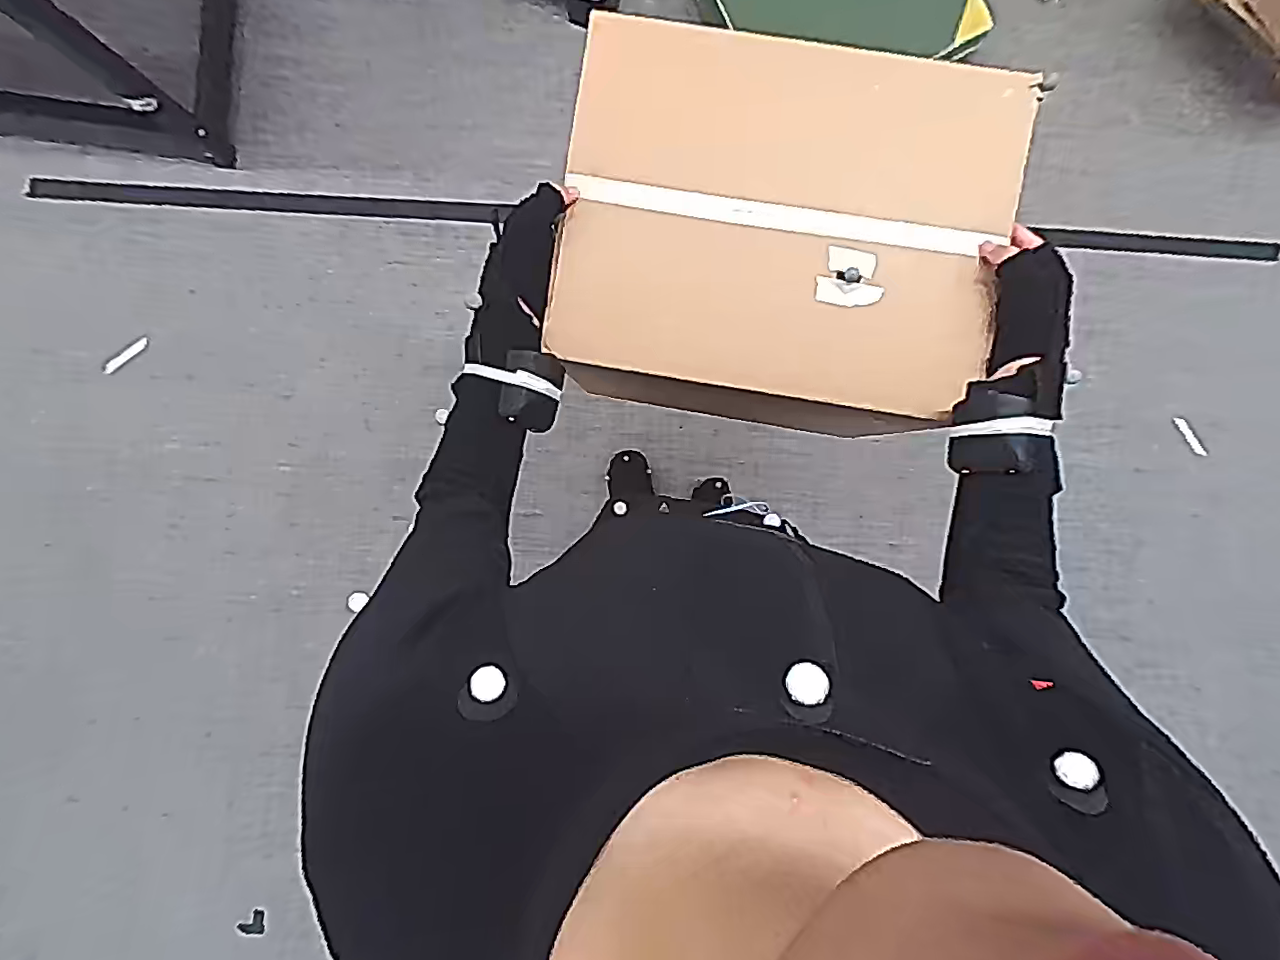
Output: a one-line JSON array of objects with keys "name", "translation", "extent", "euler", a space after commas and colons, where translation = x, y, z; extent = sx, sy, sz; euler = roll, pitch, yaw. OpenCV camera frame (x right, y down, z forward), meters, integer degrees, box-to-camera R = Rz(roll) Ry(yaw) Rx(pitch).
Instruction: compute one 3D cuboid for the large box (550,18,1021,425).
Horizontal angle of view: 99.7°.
[{"name": "large box", "translation": [0.132, -0.254, 0.651], "extent": [0.408, 0.320, 0.320], "euler": [10, 94, 0]}]
